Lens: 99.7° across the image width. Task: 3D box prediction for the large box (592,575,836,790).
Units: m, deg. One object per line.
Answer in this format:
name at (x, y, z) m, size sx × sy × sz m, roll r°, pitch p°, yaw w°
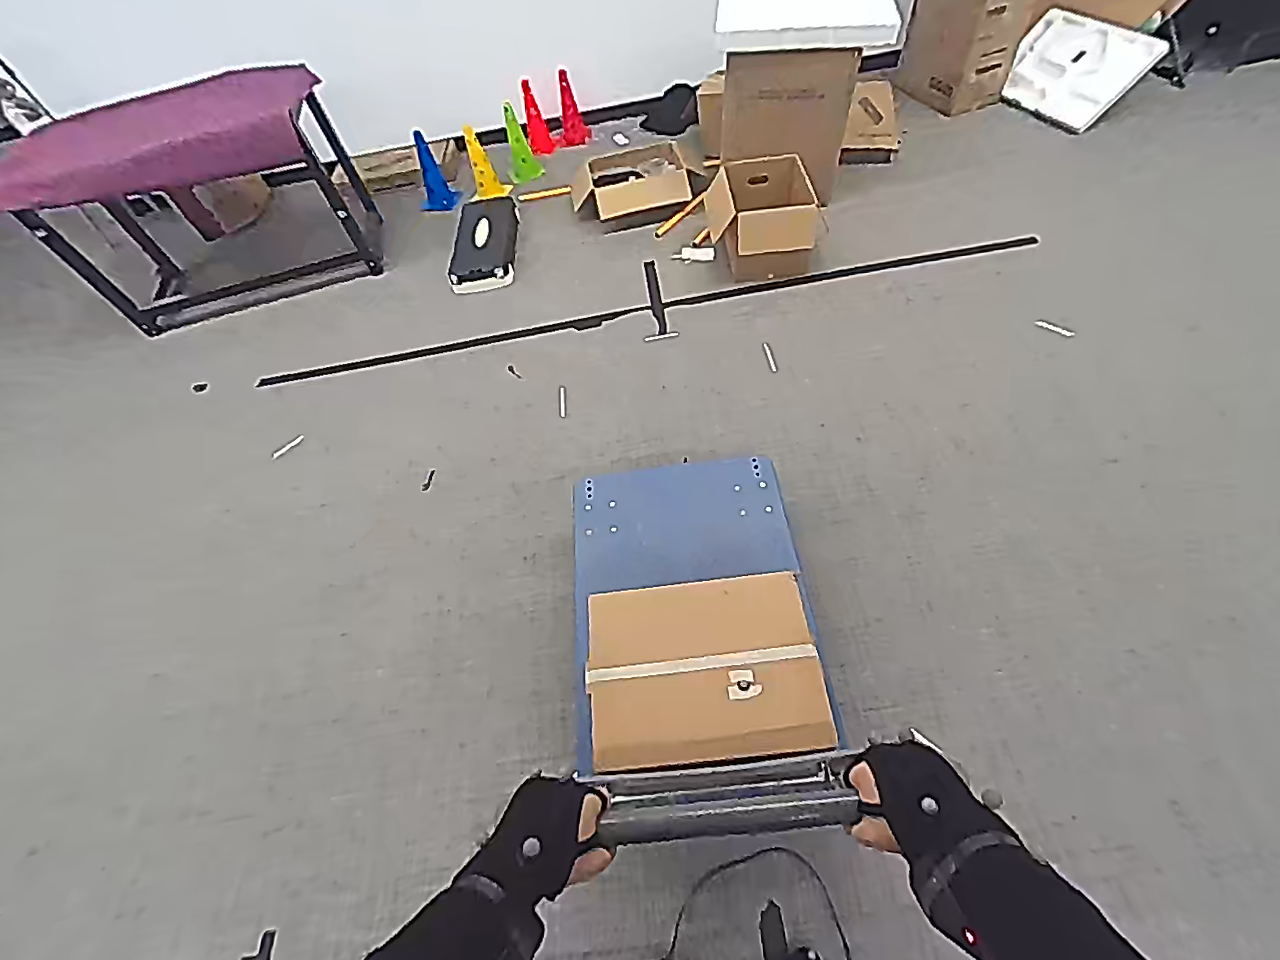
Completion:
large box at (0.129, 0.422, 1.103) m, size 0.408 × 0.320 × 0.320 m, roll -7°, pitch 56°, yaw 2°
